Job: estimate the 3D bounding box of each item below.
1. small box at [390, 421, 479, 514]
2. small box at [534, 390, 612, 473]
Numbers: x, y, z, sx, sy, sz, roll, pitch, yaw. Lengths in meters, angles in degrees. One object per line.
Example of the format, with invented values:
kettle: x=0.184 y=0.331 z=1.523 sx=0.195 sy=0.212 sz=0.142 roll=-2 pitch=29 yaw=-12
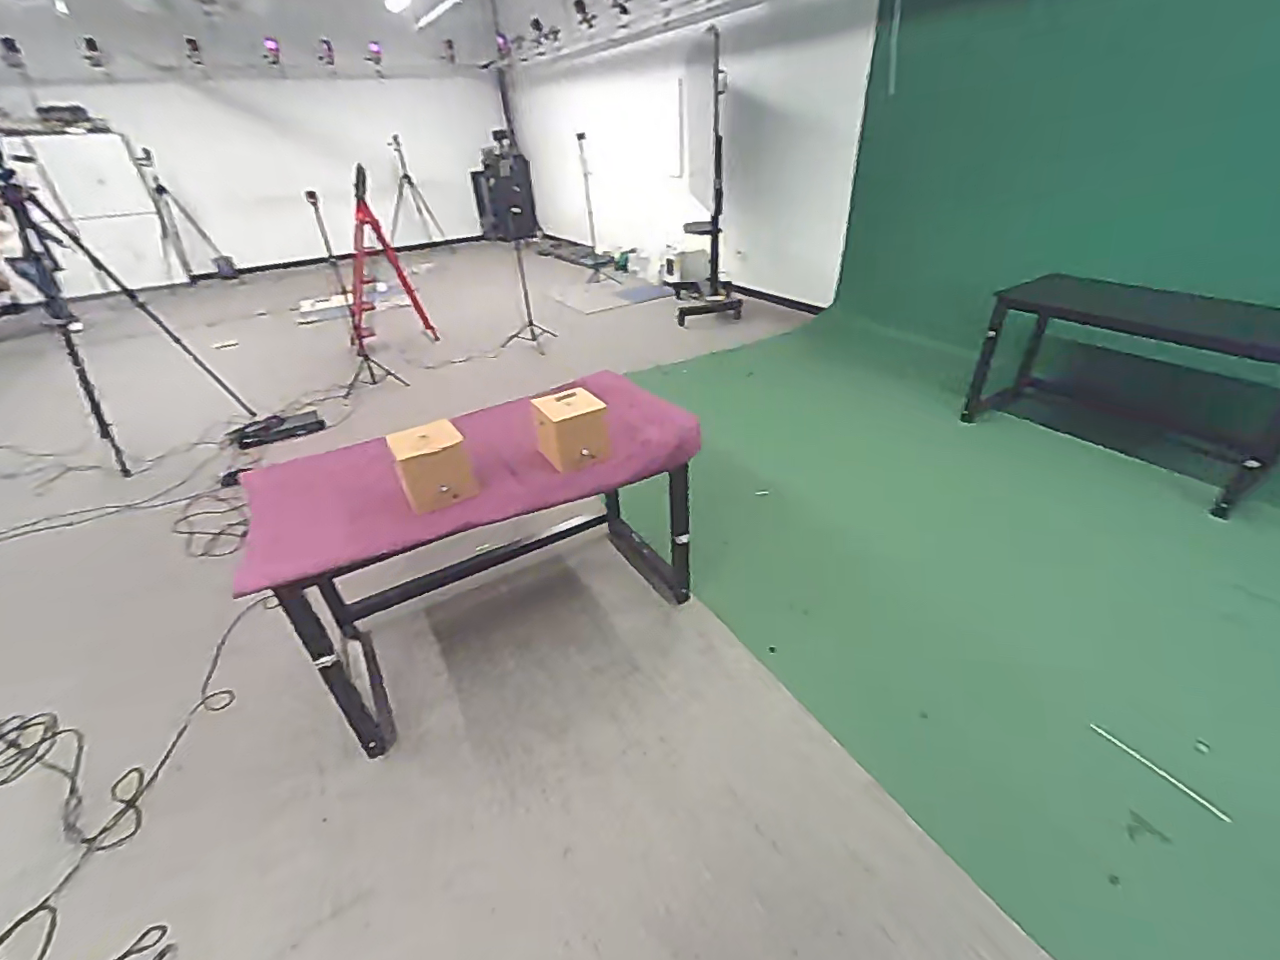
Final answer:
small box: x=-0.549 y=-0.035 z=1.447 sx=0.168 sy=0.176 sz=0.179 roll=-21 pitch=35 yaw=-25
small box: x=-0.195 y=-0.143 z=1.588 sx=0.168 sy=0.176 sz=0.179 roll=-20 pitch=36 yaw=-24
